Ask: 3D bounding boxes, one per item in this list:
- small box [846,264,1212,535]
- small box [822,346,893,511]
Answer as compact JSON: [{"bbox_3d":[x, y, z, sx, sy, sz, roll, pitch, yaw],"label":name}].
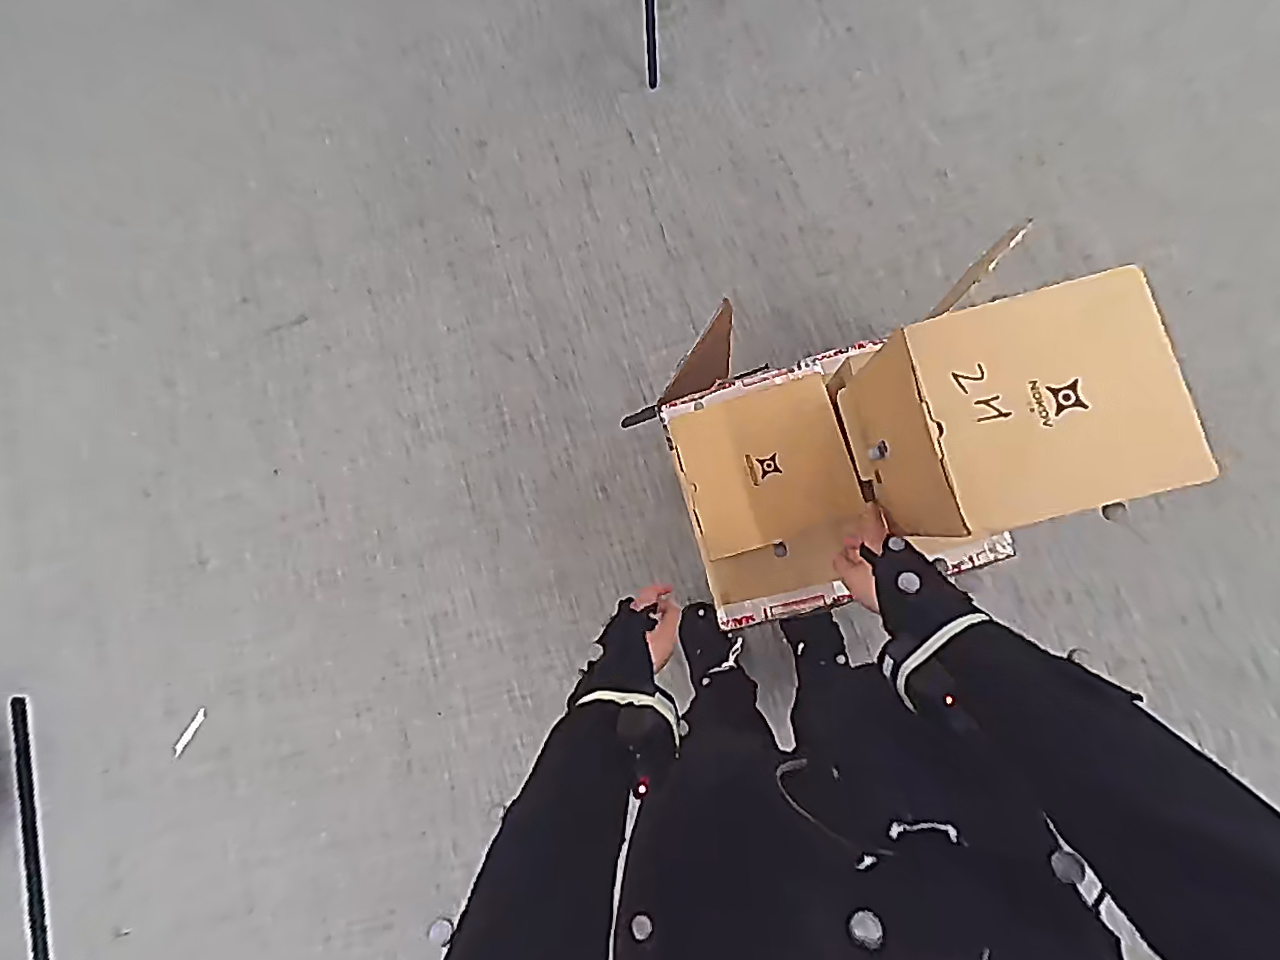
[{"bbox_3d":[0.304,-0.052,0.469,0.179,0.176,0.168,-15,83,6],"label":"small box"},{"bbox_3d":[0.325,-0.060,0.633,0.179,0.176,0.168,-12,83,5],"label":"small box"}]
